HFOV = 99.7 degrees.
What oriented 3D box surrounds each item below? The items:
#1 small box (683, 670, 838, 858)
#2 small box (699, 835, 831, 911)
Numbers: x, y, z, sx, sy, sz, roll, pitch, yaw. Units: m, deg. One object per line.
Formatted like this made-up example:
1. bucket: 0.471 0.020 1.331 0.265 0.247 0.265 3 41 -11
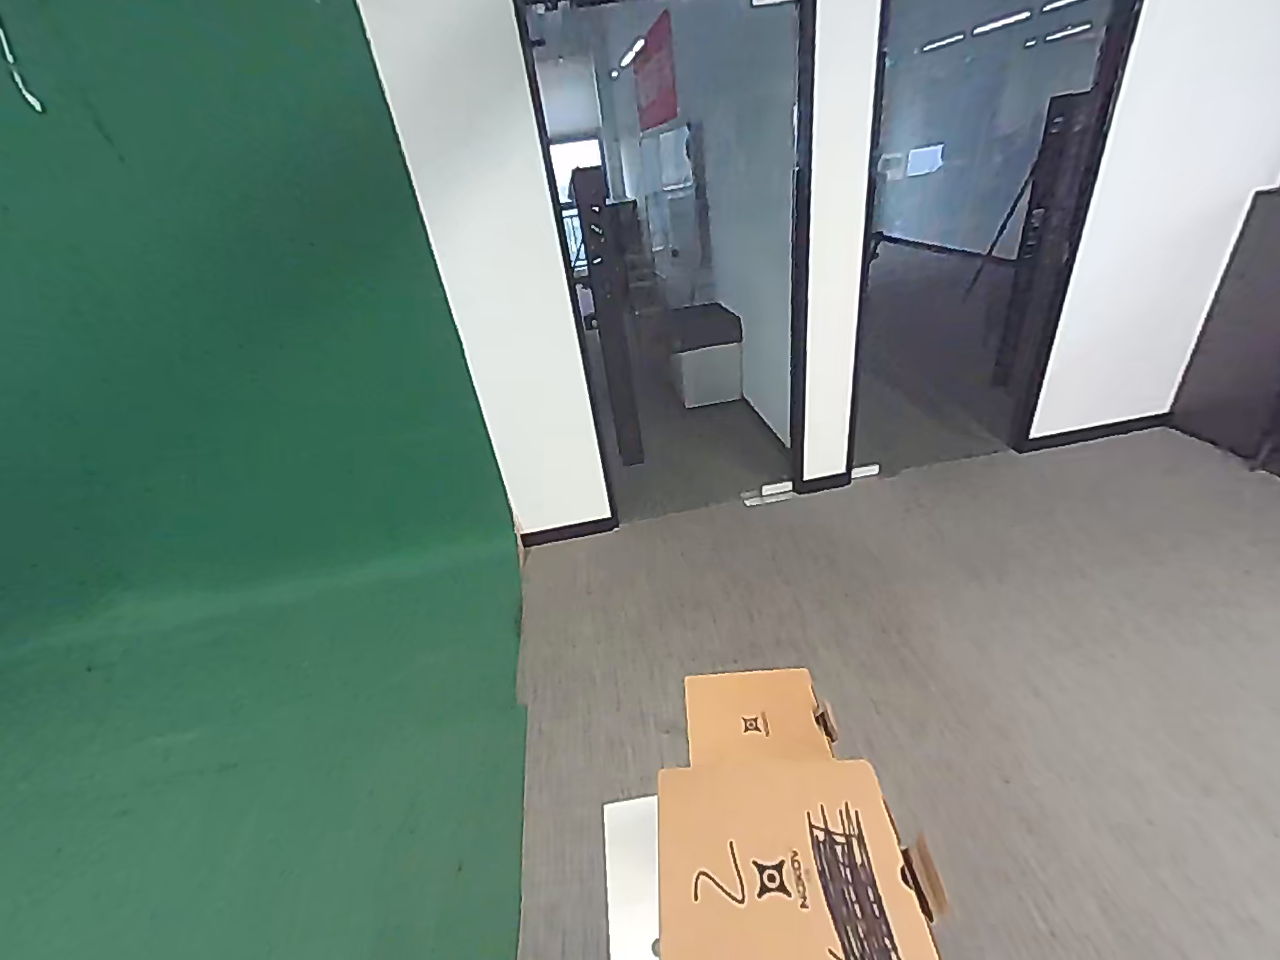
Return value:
1. small box: 0.155 0.385 0.735 0.179 0.176 0.168 -5 30 4
2. small box: 0.180 0.523 0.820 0.179 0.176 0.168 -6 31 5
